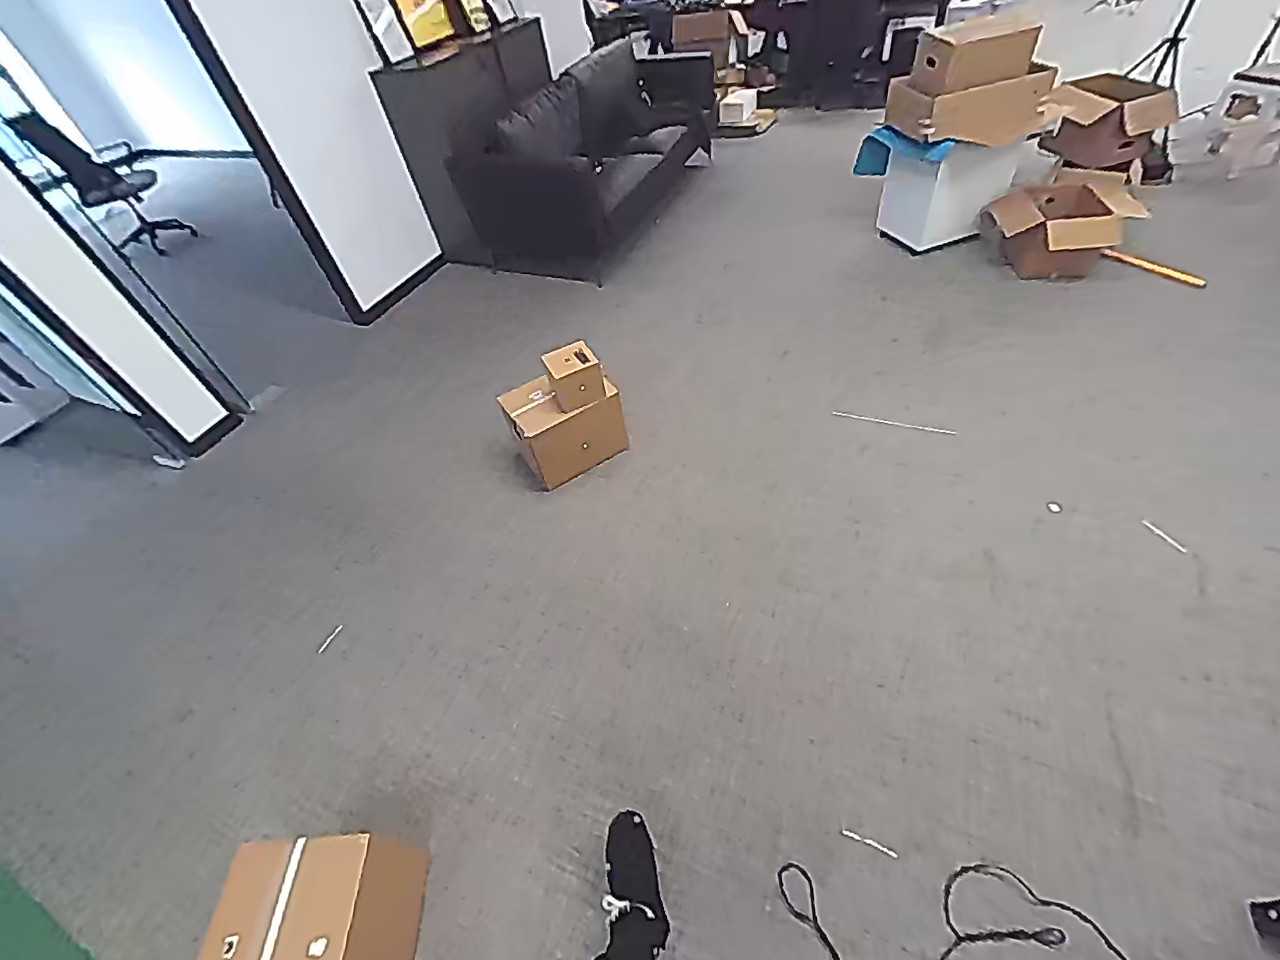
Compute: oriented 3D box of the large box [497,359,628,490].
[{"bbox_3d":[-0.312,-0.232,2.242,0.408,0.320,0.320,-31,50,-16],"label":"large box"}]
